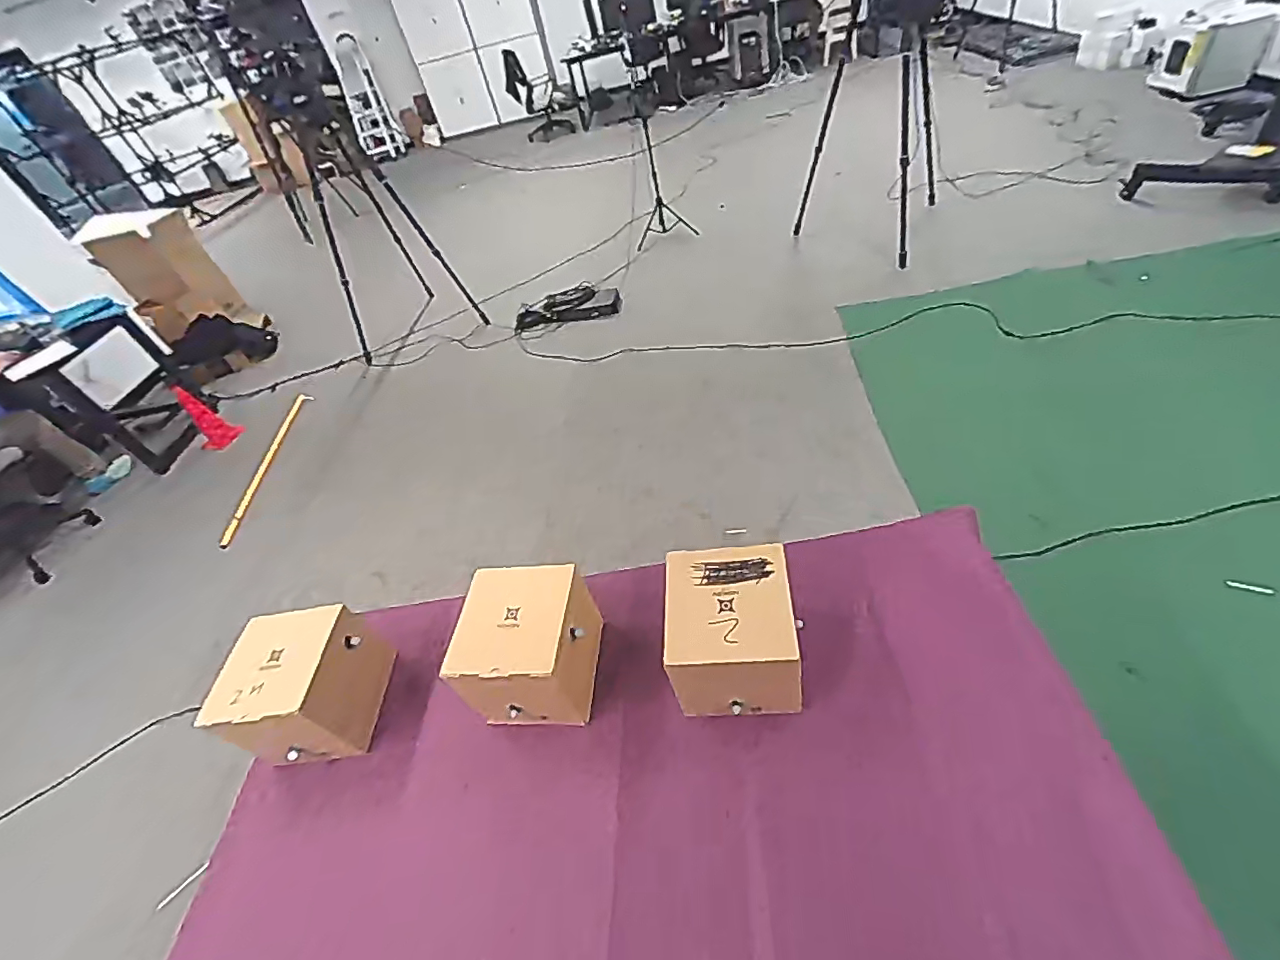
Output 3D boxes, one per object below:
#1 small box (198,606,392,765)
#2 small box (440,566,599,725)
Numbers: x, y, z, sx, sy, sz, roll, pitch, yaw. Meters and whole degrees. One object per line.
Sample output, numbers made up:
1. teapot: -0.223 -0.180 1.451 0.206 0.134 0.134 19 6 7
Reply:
1. small box: -0.527 0.328 0.861 0.168 0.176 0.179 -10 44 8
2. small box: -0.169 0.253 0.827 0.168 0.176 0.179 -5 46 13
